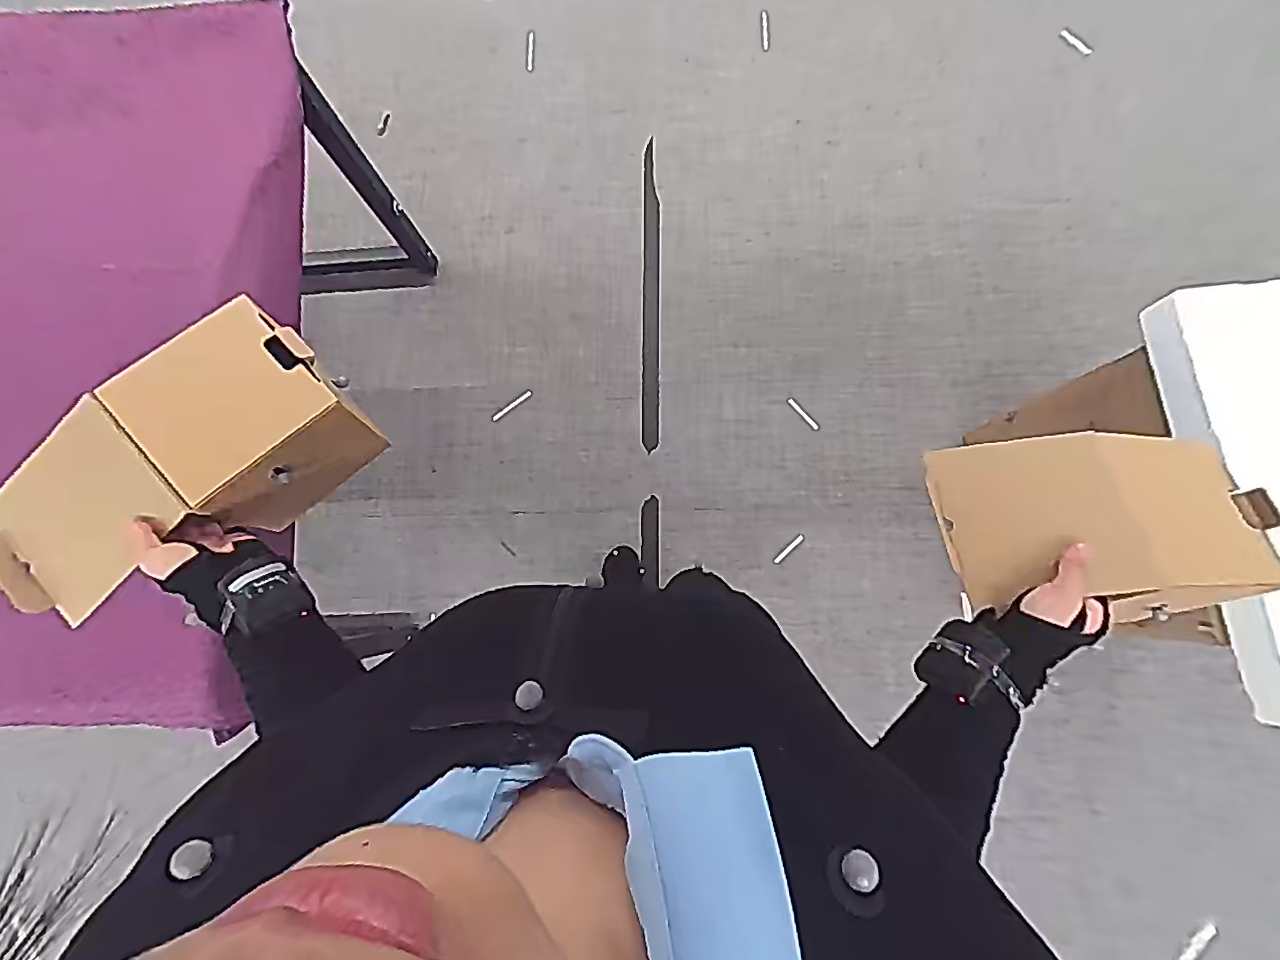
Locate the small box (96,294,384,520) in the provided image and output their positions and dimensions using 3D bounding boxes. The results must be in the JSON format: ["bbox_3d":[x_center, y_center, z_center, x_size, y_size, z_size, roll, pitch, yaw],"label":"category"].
[{"bbox_3d":[-0.442,-0.071,0.633,0.179,0.176,0.168,-41,87,-13],"label":"small box"}]
